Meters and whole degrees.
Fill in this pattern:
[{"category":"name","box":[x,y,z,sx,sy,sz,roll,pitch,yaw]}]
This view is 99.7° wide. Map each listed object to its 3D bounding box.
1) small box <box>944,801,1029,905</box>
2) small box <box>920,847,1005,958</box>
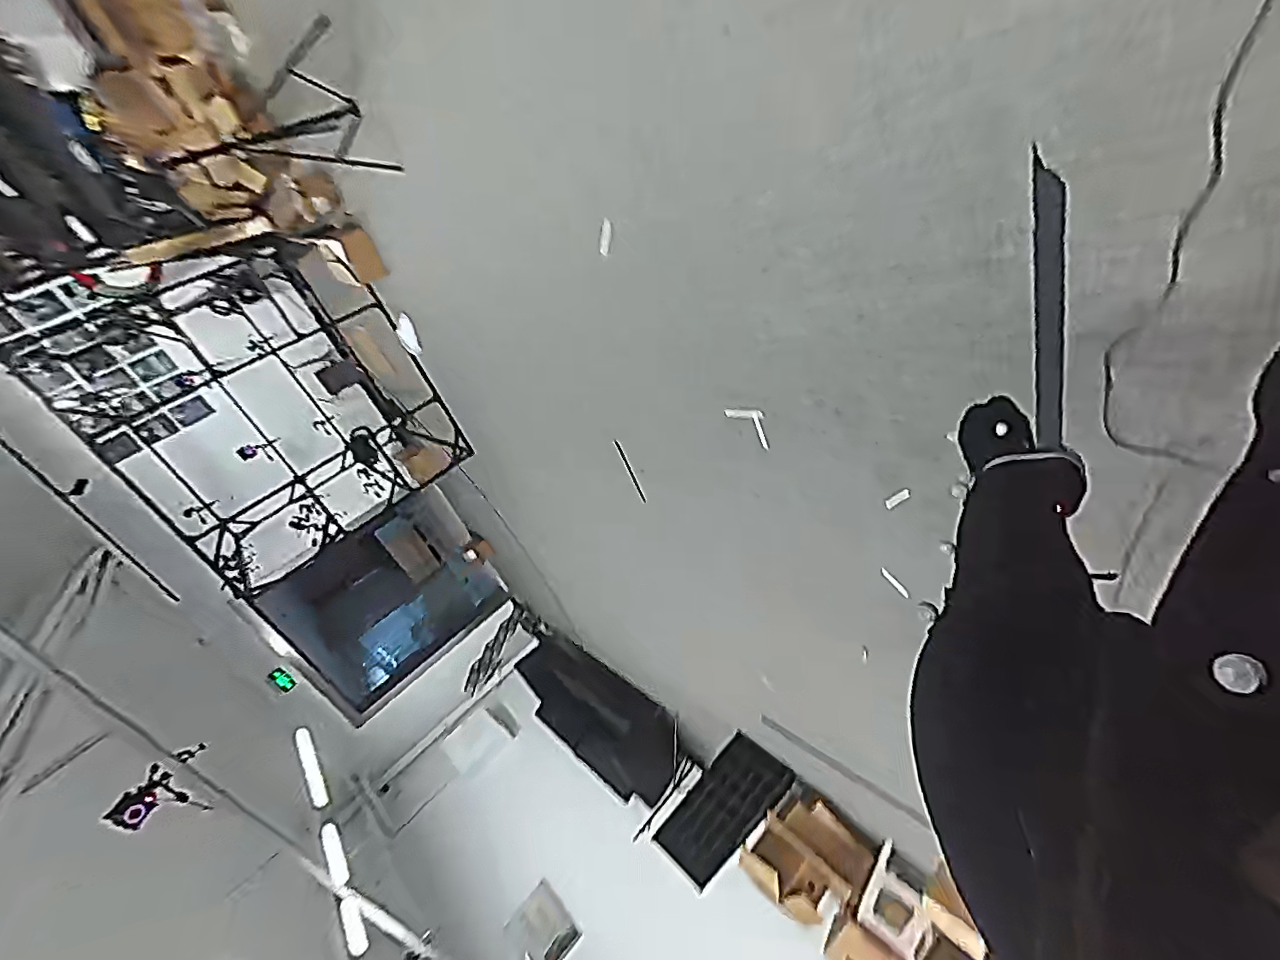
[{"category":"small box","box":[1.057,1.133,1.652,0.179,0.176,0.168,22,142,46]},{"category":"small box","box":[0.943,1.231,1.583,0.168,0.176,0.179,22,143,45]}]
